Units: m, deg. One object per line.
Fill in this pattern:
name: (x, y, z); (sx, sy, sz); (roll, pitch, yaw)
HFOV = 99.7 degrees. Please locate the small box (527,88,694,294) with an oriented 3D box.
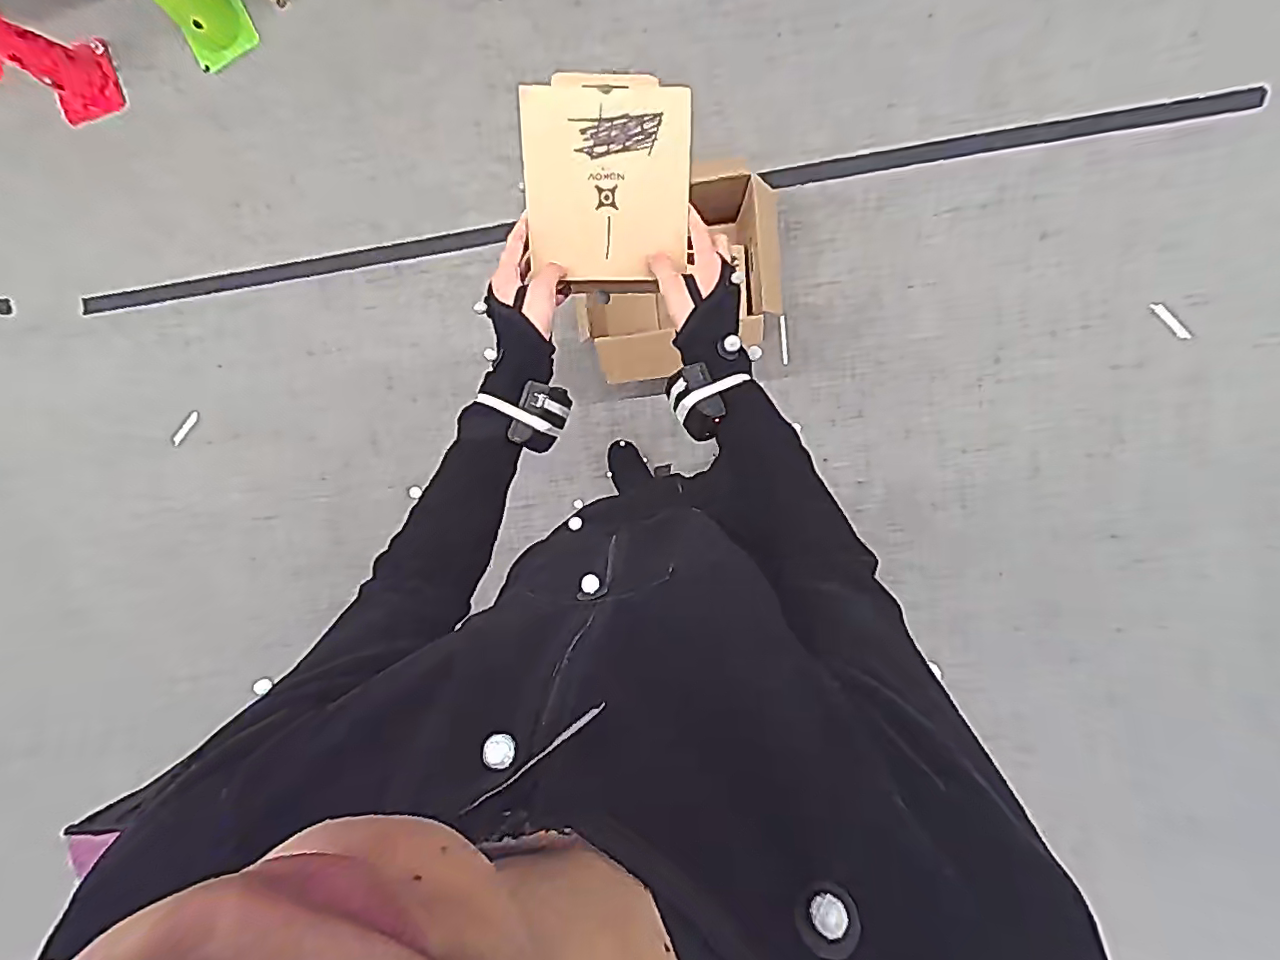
small box: (-0.033, -0.313, 0.621); (0.168, 0.176, 0.179); (-1, 105, -3)
